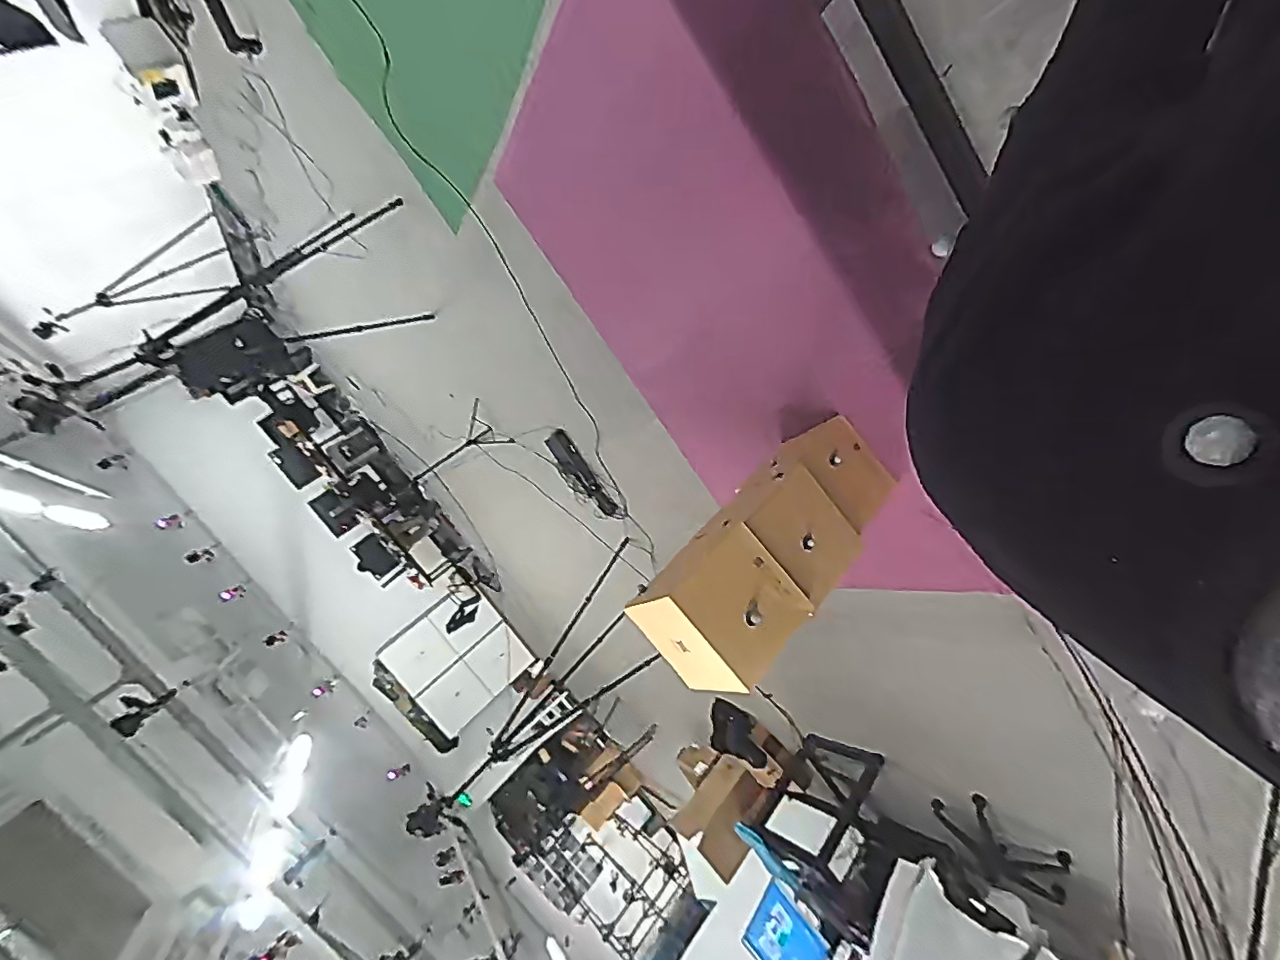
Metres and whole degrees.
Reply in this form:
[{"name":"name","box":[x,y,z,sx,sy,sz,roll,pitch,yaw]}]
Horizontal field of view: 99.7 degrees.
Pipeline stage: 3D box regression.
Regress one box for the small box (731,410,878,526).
[{"name":"small box","box":[0.310,-0.005,1.001,0.168,0.176,0.179,52,153,-4]}]

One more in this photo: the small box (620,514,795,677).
[{"name":"small box","box":[0.105,0.173,0.816,0.168,0.176,0.179,50,153,-1]}]

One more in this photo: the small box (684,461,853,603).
[{"name":"small box","box":[0.214,0.088,0.903,0.179,0.176,0.168,51,152,-4]}]
